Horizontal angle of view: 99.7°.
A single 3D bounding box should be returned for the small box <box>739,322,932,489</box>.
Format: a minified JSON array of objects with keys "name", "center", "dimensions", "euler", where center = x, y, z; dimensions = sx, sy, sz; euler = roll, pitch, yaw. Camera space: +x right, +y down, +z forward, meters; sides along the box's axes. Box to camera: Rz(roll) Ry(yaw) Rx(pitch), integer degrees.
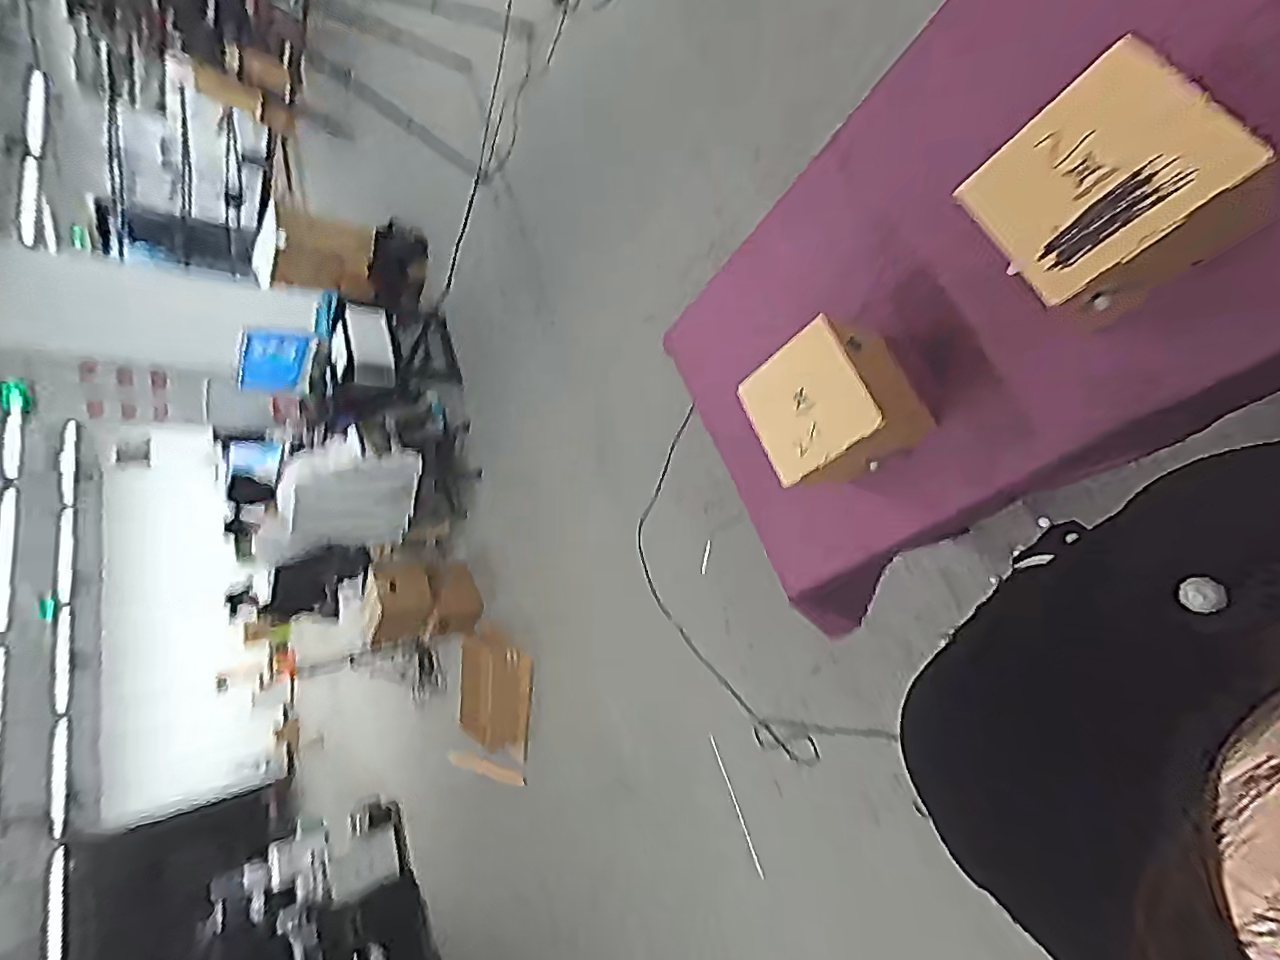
[{"name":"small box","center":[0.283,-0.098,0.792],"dimensions":[0.168,0.176,0.179],"euler":[-41,61,41]}]
